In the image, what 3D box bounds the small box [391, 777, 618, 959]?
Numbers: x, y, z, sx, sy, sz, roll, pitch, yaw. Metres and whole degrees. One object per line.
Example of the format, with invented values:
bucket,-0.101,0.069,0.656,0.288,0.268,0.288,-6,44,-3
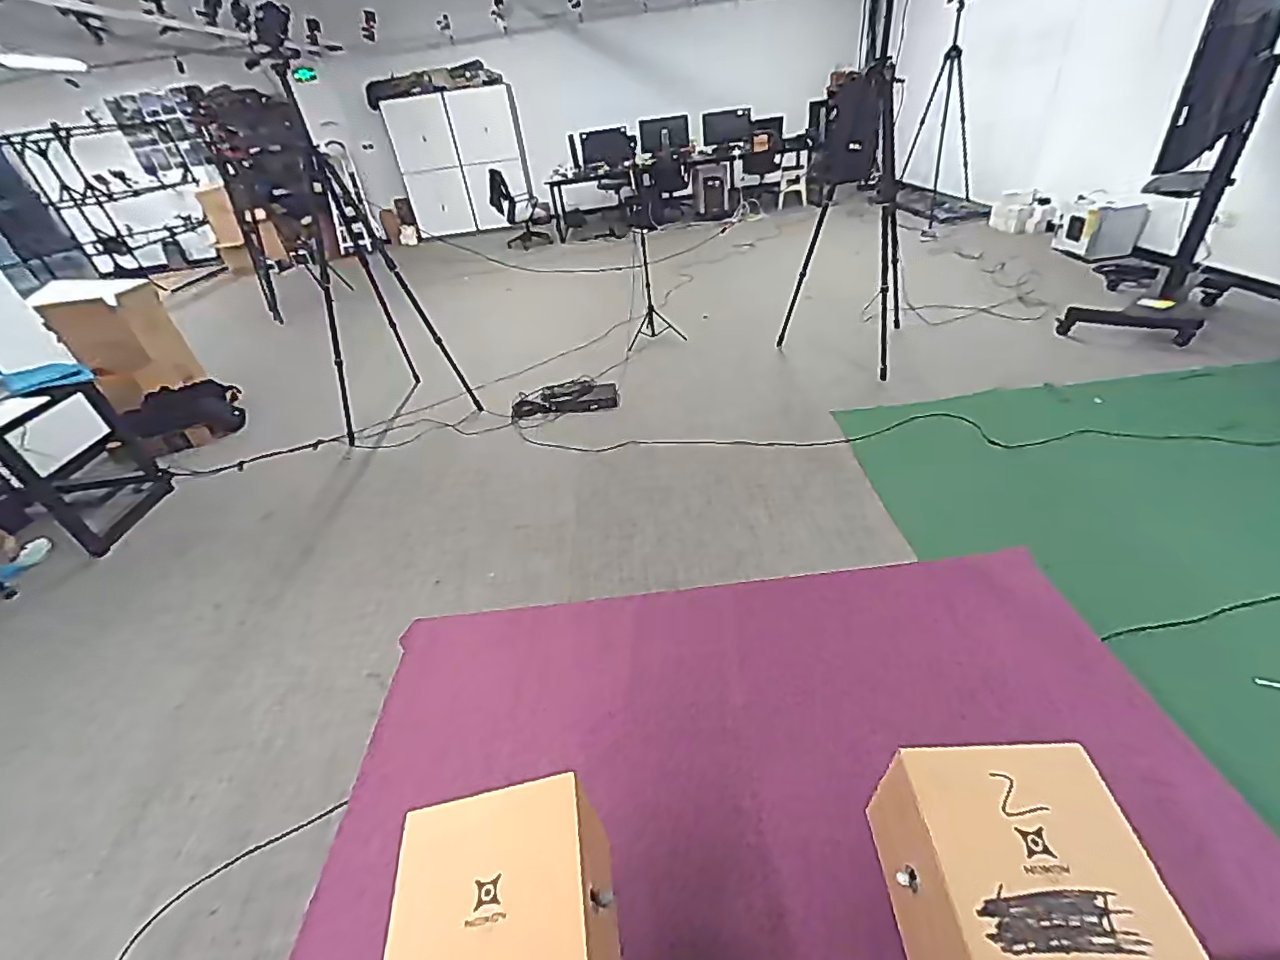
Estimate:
small box,-0.117,0.424,0.514,0.168,0.176,0.179,-13,38,-3
